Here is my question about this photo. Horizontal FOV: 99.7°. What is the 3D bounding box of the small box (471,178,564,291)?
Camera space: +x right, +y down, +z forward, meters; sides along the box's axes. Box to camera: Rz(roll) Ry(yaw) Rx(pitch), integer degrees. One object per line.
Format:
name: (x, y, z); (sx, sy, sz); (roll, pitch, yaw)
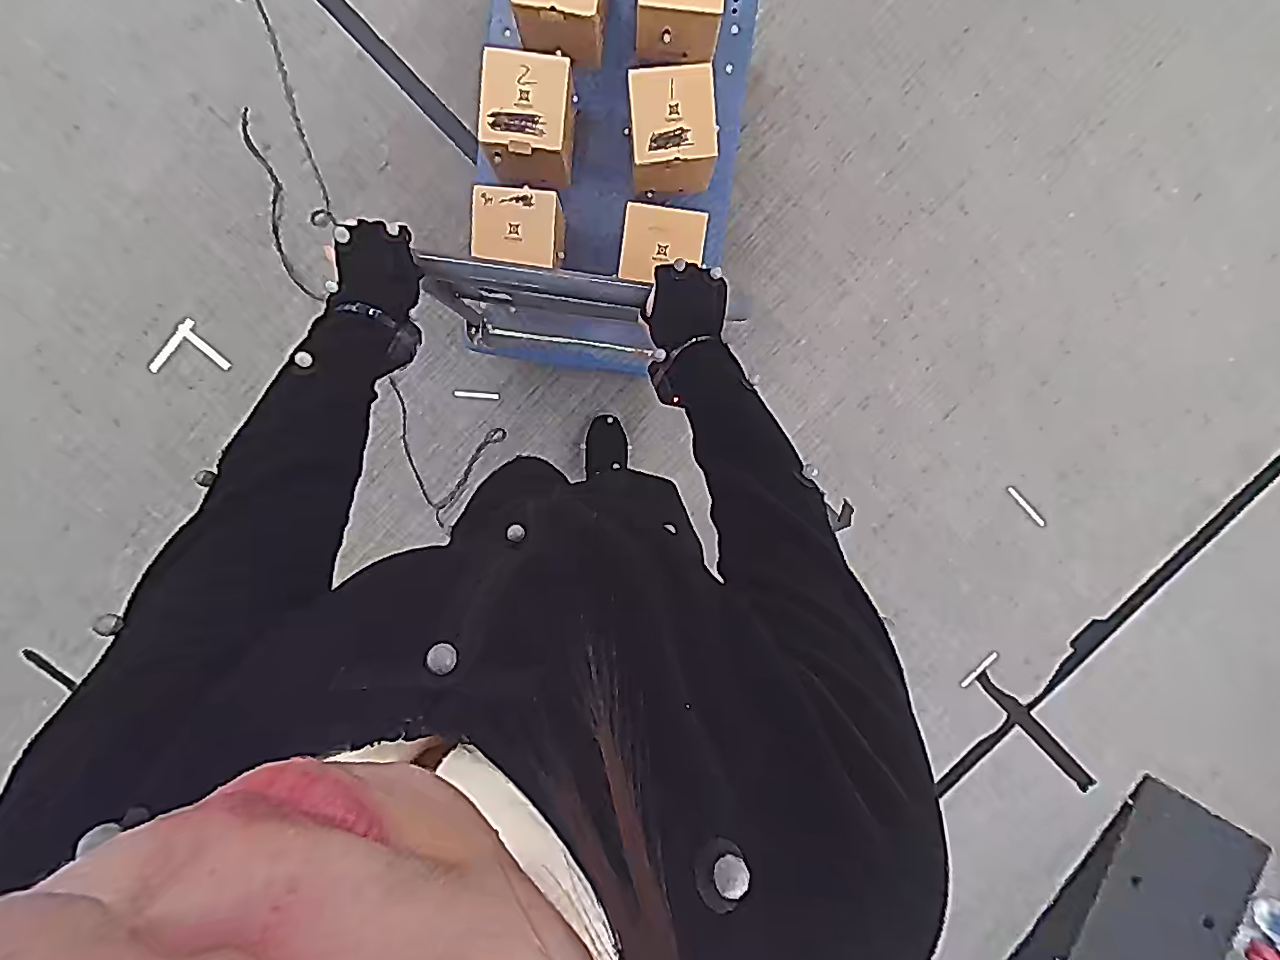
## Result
small box: (-0.254, -0.512, 1.152); (0.168, 0.176, 0.179); (4, 97, -3)

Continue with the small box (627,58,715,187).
small box: (0.062, -0.734, 1.133); (0.168, 0.176, 0.179); (-5, 97, -1)

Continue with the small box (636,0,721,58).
small box: (0.081, -1.005, 1.100); (0.168, 0.176, 0.179); (4, 97, -2)

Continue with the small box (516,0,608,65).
small box: (-0.154, -0.997, 1.092); (0.168, 0.176, 0.179); (9, 98, -3)

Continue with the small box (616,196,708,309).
small box: (0.042, -0.479, 1.166); (0.168, 0.176, 0.179); (8, 96, -3)
